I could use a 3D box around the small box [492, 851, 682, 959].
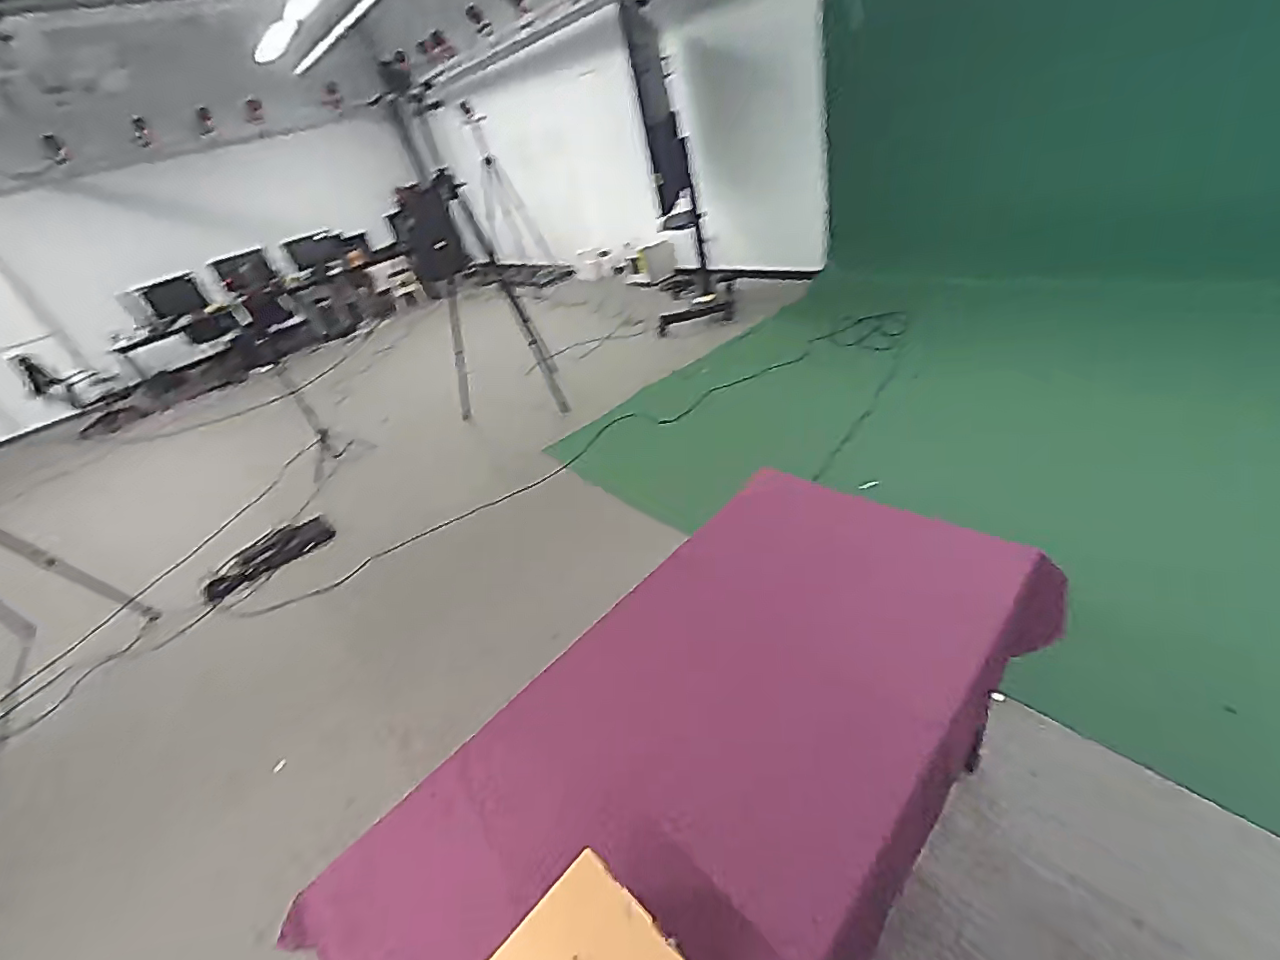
[{"bbox_3d":[-0.045,0.553,0.561,0.168,0.176,0.179,21,47,42],"label":"small box"}]
